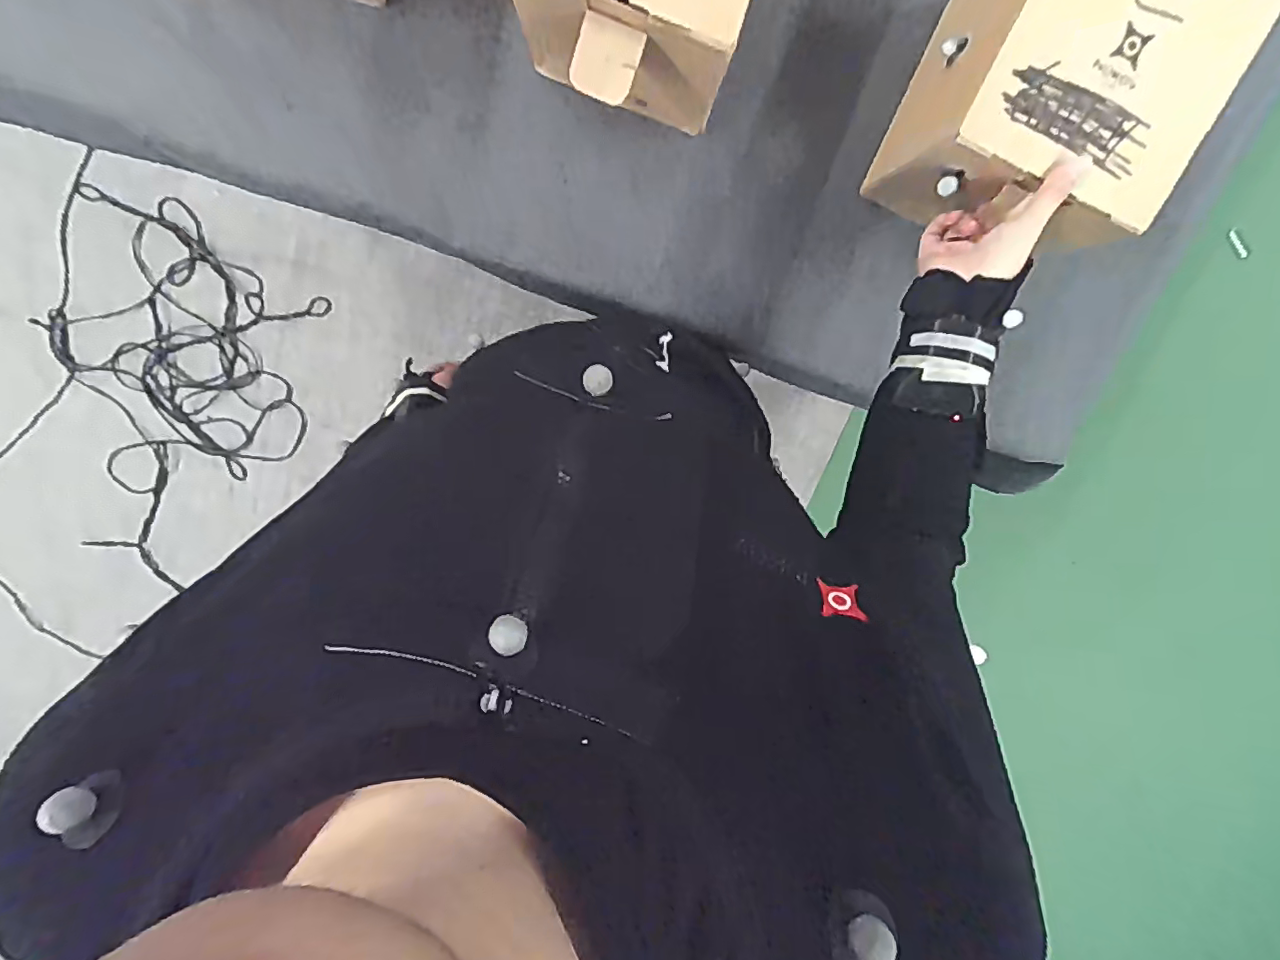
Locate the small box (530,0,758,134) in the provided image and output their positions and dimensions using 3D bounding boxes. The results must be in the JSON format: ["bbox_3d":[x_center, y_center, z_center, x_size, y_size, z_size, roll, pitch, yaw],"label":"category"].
[{"bbox_3d":[0.013,-0.409,0.412,0.168,0.176,0.179,18,105,-7],"label":"small box"}]
